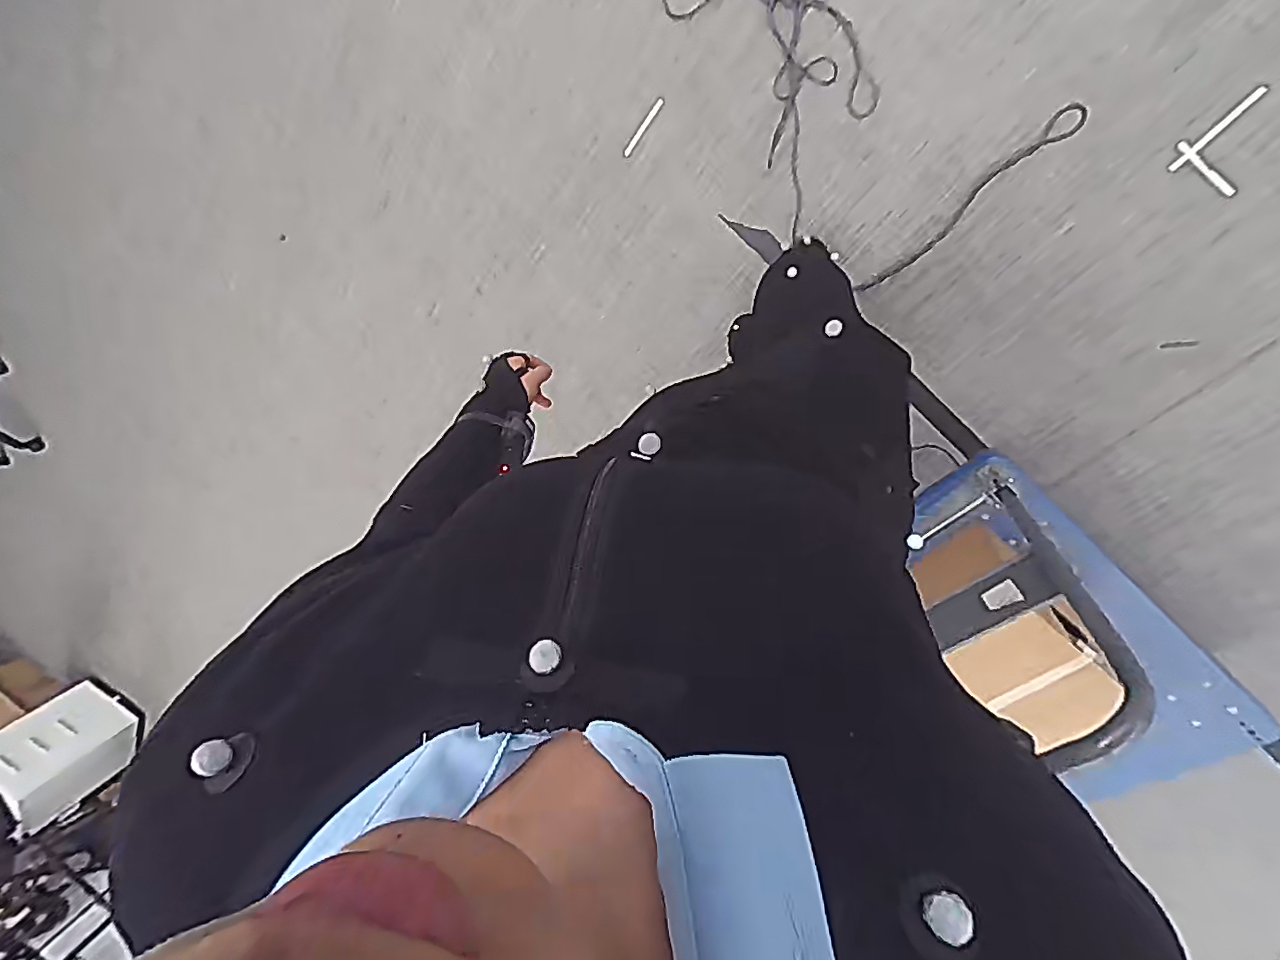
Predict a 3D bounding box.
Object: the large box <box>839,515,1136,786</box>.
[{"bbox_3d":[0.685,0.354,1.158,0.320,0.320,0.408,41,120,1],"label":"large box"}]
